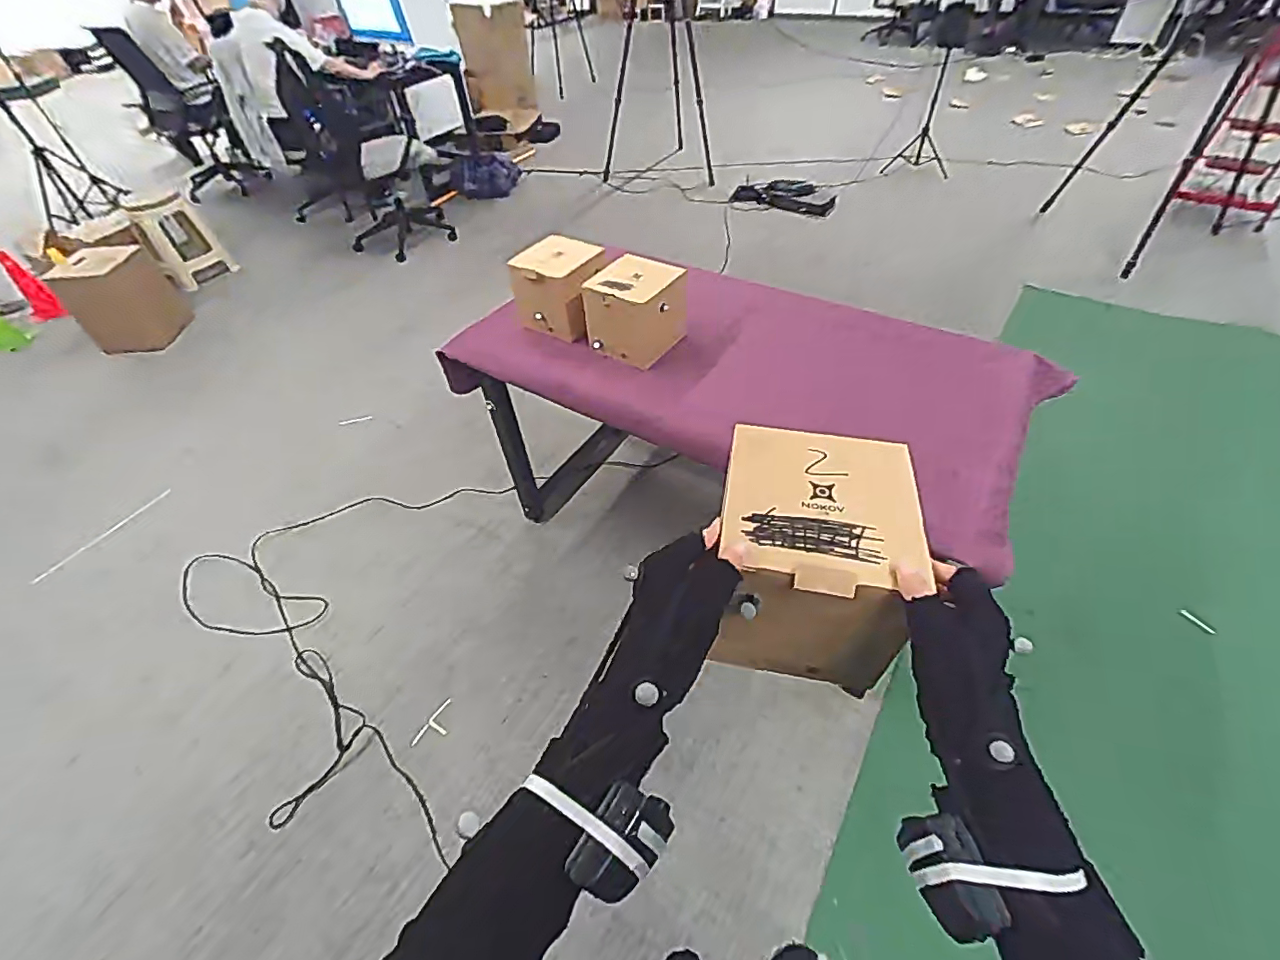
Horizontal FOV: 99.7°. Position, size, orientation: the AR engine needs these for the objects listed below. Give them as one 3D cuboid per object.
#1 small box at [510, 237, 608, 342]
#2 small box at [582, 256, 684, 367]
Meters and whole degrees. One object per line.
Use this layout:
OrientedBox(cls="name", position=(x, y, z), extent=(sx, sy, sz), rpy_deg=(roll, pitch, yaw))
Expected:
OrientedBox(cls="small box", position=(-0.191, -0.473, 1.340), extent=(0.168, 0.176, 0.179), rpy_deg=(24, 54, 24))
OrientedBox(cls="small box", position=(-0.008, -0.388, 1.250), extent=(0.168, 0.176, 0.179), rpy_deg=(26, 54, 25))
